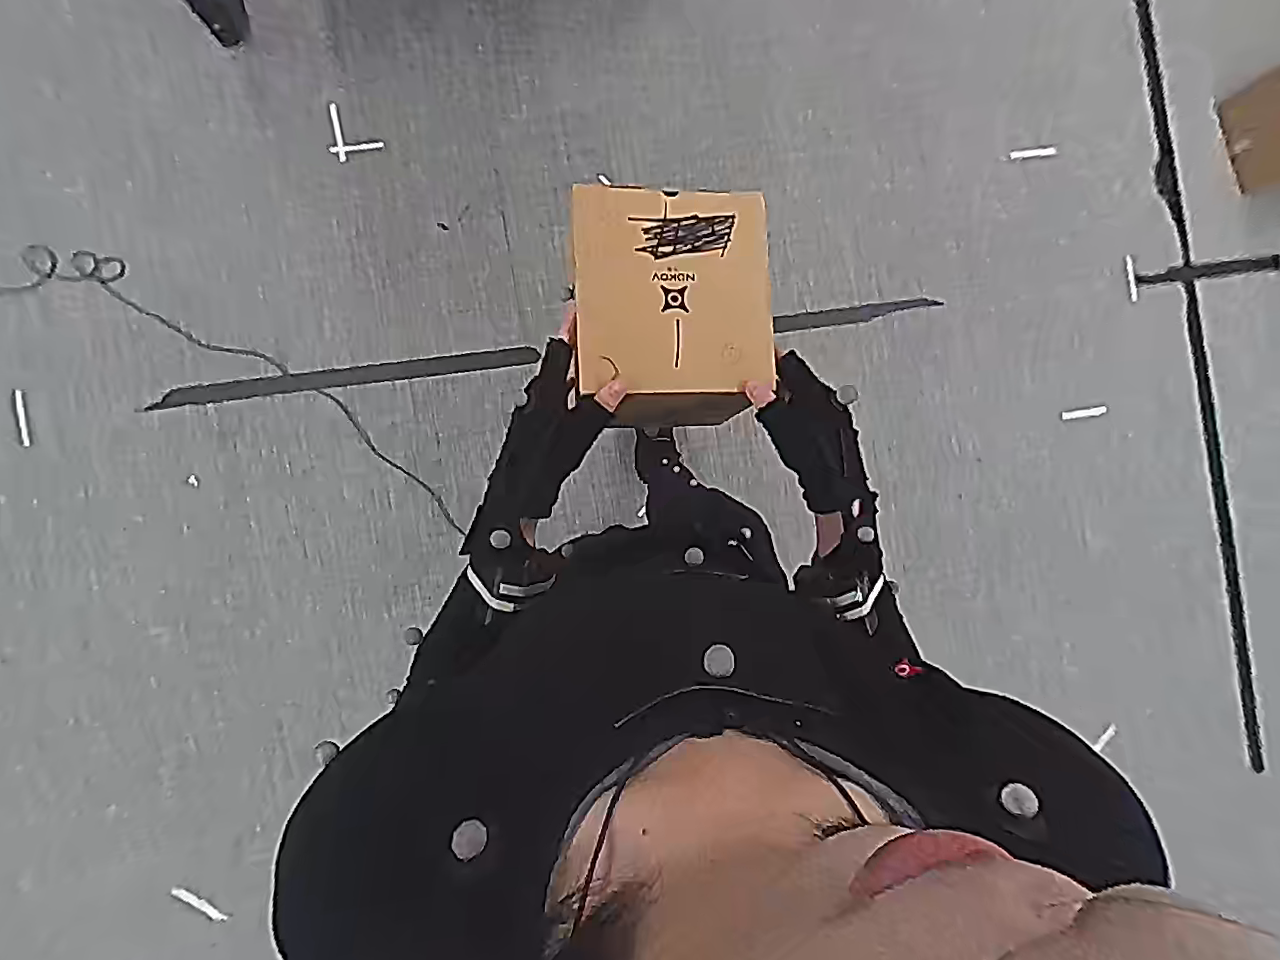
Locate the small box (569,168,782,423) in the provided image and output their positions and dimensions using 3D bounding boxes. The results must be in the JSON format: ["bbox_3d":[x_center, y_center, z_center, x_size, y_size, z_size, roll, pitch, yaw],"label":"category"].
[{"bbox_3d":[0.019,-0.157,0.511,0.168,0.176,0.179,-3,86,-8],"label":"small box"}]

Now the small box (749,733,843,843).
[{"bbox_3d":[0.414,0.830,1.474,0.179,0.176,0.168,-21,93,-7],"label":"small box"}]
